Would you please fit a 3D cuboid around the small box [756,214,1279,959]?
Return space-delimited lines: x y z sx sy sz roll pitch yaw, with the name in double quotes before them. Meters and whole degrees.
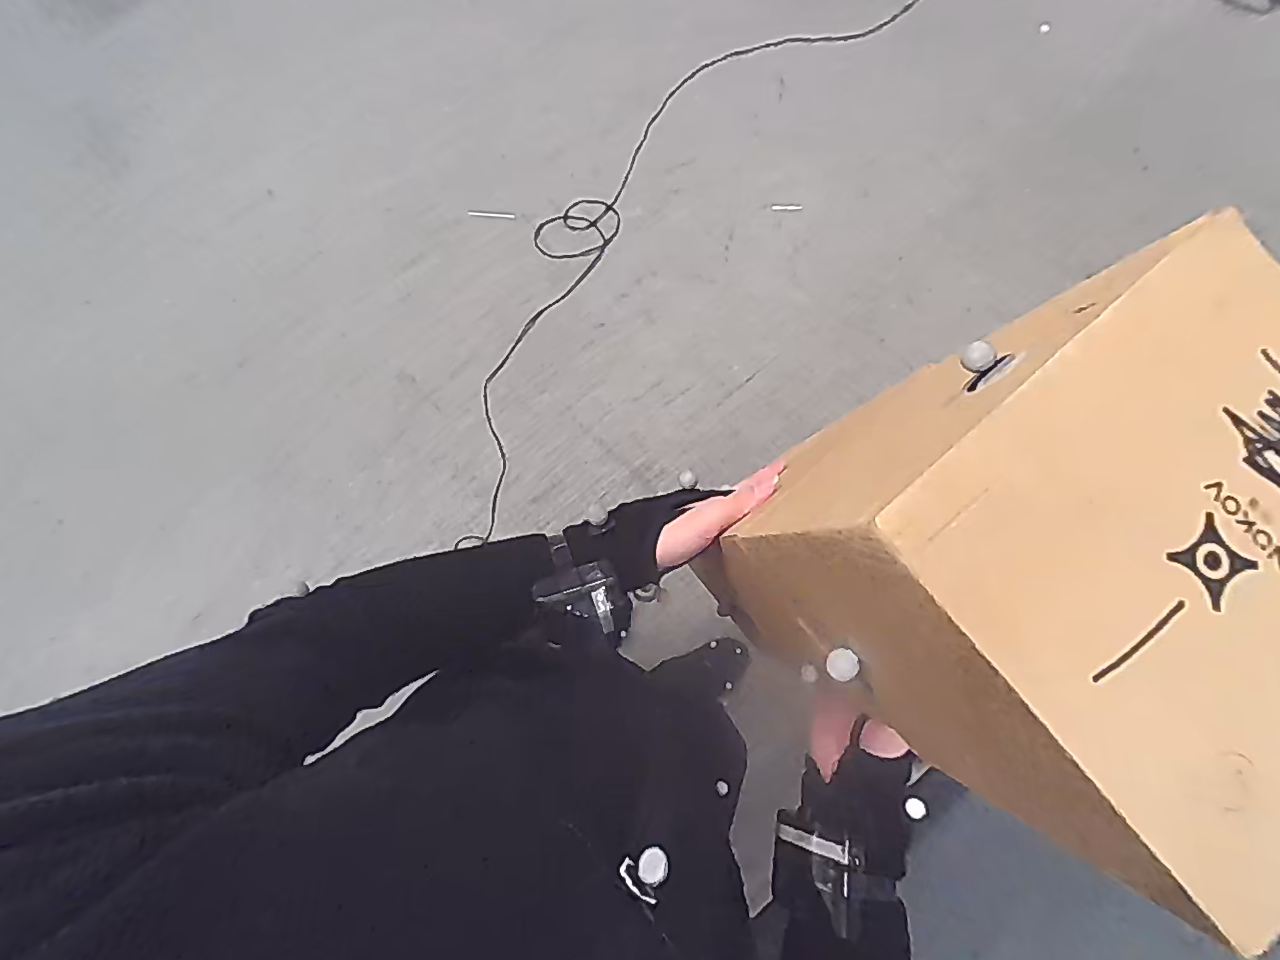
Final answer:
"small box" 0.182 0.032 0.248 0.179 0.176 0.168 -40 86 -7

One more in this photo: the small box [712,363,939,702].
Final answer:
"small box" 0.172 0.051 0.411 0.179 0.176 0.168 -41 87 -9

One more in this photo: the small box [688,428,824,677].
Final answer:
"small box" 0.166 0.073 0.572 0.179 0.176 0.168 -39 85 -8
